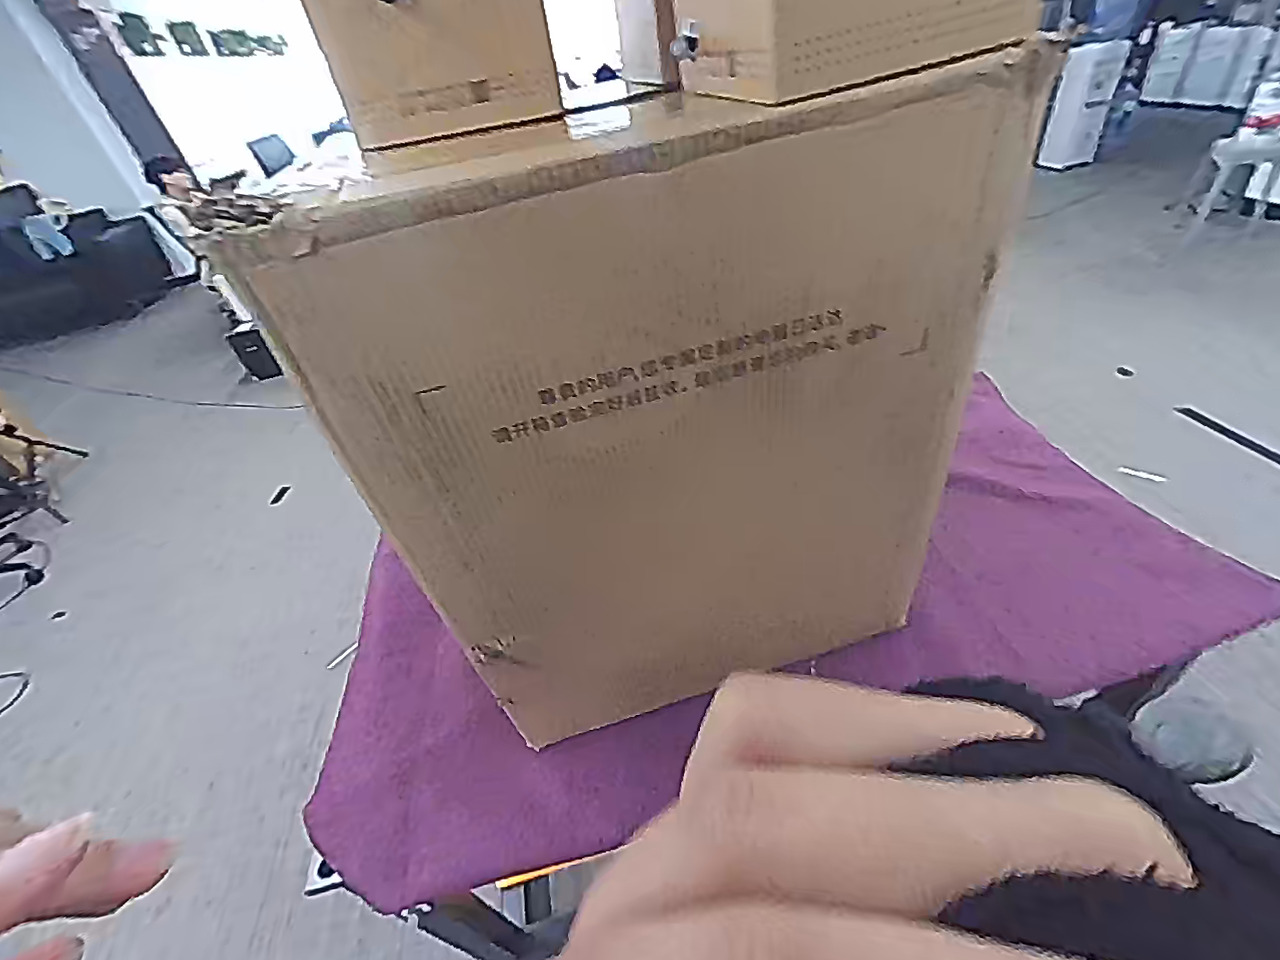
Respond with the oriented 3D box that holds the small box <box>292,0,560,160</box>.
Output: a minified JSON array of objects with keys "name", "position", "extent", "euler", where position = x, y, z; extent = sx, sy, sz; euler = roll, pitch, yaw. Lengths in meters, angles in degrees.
[{"name":"small box","position":[-0.168,-0.377,0.441],"extent":[0.168,0.176,0.179],"euler":[-14,39,-3]}]

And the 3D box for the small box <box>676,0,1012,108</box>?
[{"name":"small box","position":[0.121,-0.351,0.338],"extent":[0.179,0.176,0.168],"euler":[-19,40,-6]}]
